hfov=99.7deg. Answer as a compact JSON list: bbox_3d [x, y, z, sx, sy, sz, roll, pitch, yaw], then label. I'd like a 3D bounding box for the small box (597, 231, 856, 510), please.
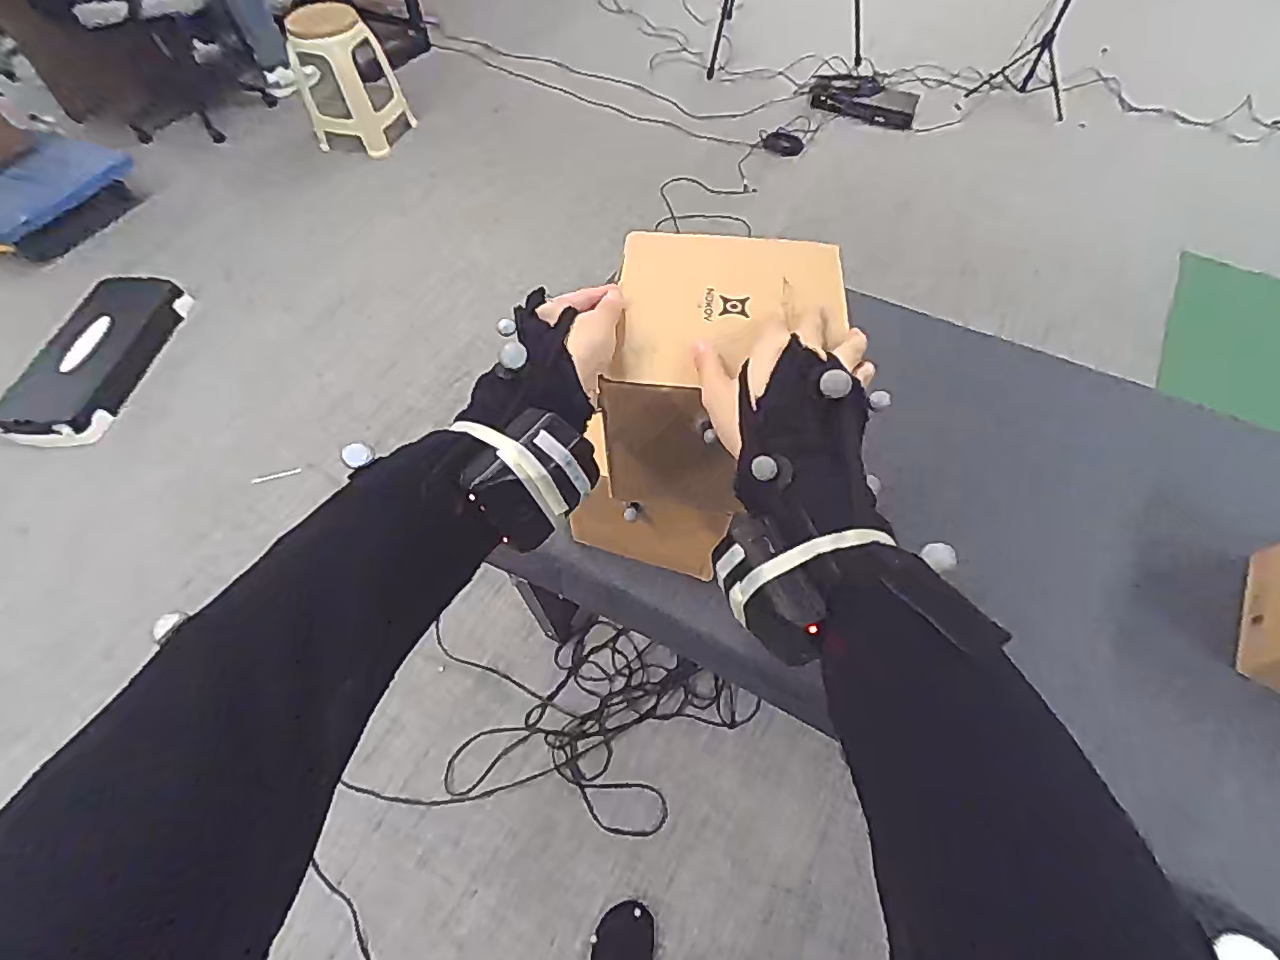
[{"bbox_3d":[0.065,-0.086,0.468,0.179,0.176,0.168,5,59,3],"label":"small box"}]

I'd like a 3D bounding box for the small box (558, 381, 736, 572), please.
[{"bbox_3d":[0.029,-0.014,0.614,0.179,0.176,0.168,16,59,11],"label":"small box"}]
